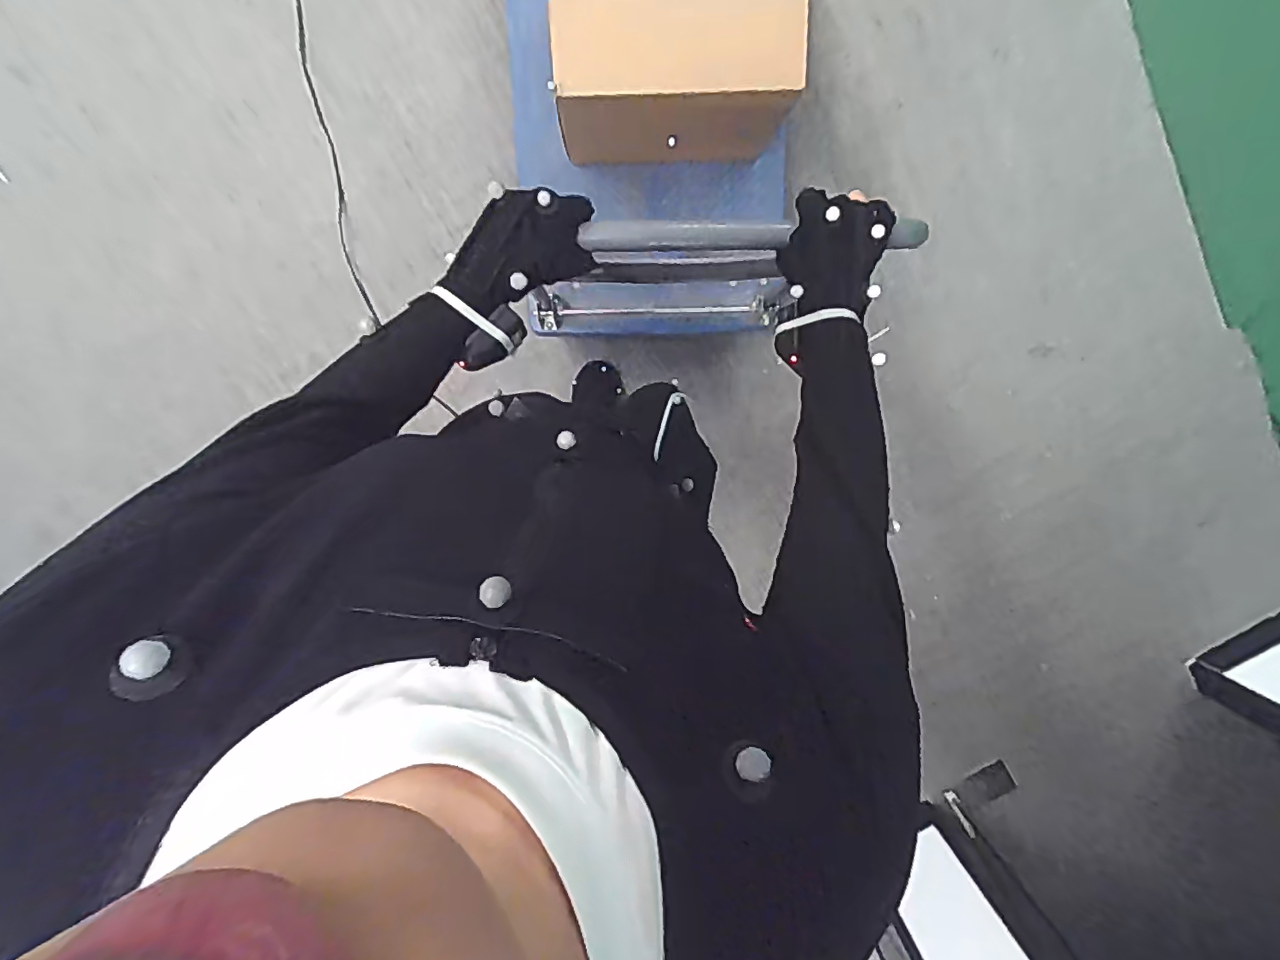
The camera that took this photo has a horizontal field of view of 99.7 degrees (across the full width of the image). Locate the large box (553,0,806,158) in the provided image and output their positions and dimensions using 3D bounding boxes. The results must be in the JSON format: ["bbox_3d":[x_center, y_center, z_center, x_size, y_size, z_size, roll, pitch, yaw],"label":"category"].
[{"bbox_3d":[0.058,-0.809,0.980,0.408,0.320,0.320,-3,103,-2],"label":"large box"}]
